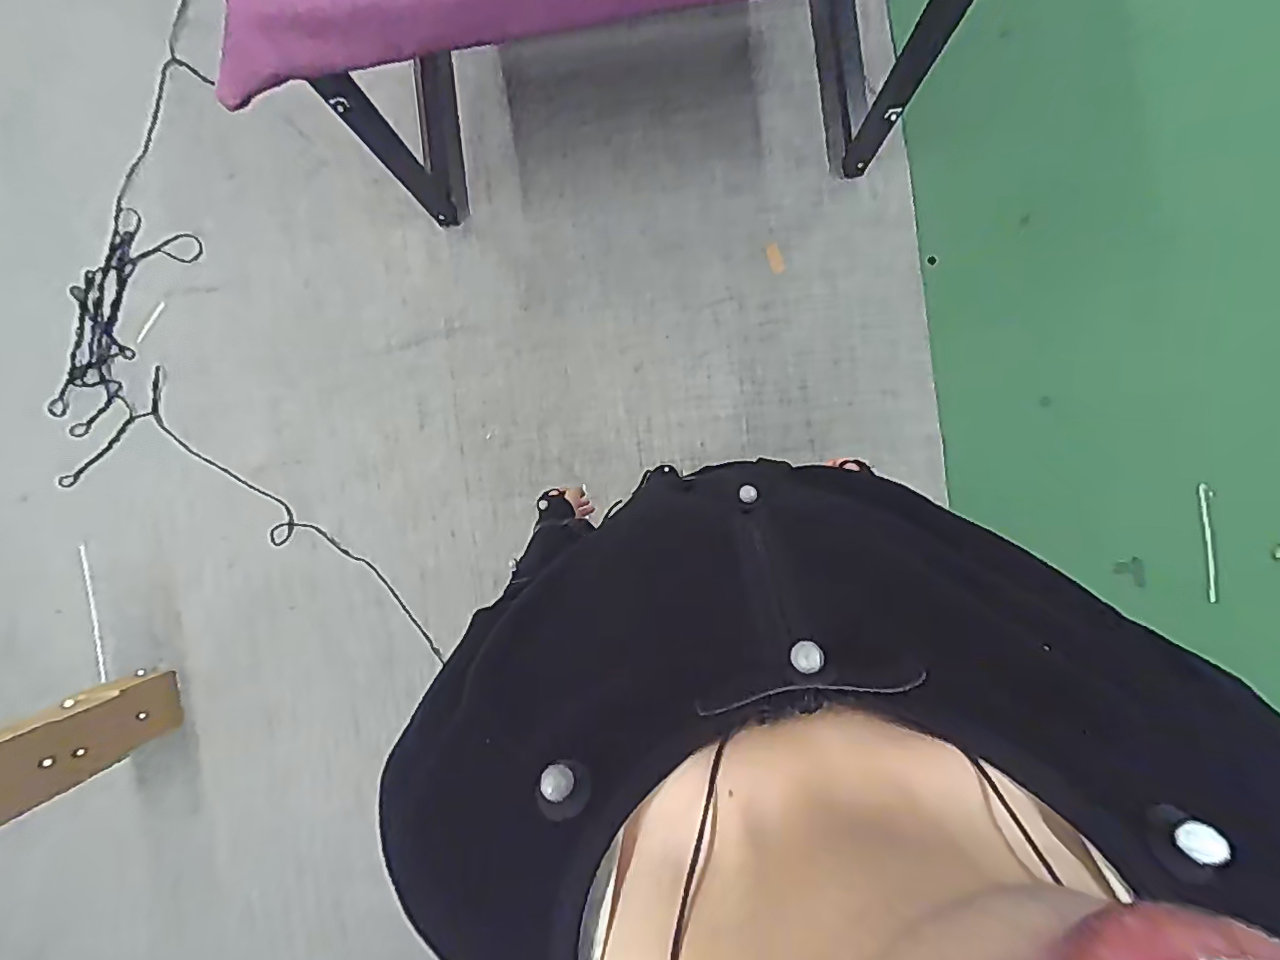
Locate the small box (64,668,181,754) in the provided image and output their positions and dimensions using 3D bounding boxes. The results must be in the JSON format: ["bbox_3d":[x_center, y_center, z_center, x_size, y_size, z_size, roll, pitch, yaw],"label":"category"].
[{"bbox_3d":[-1.451,0.655,1.528,0.168,0.176,0.179,-8,90,3],"label":"small box"}]

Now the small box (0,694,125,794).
[{"bbox_3d":[-1.459,0.668,1.365,0.168,0.176,0.179,-8,90,2],"label":"small box"}]

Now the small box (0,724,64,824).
[{"bbox_3d":[-1.454,0.663,1.201,0.168,0.176,0.179,-10,90,3],"label":"small box"}]
